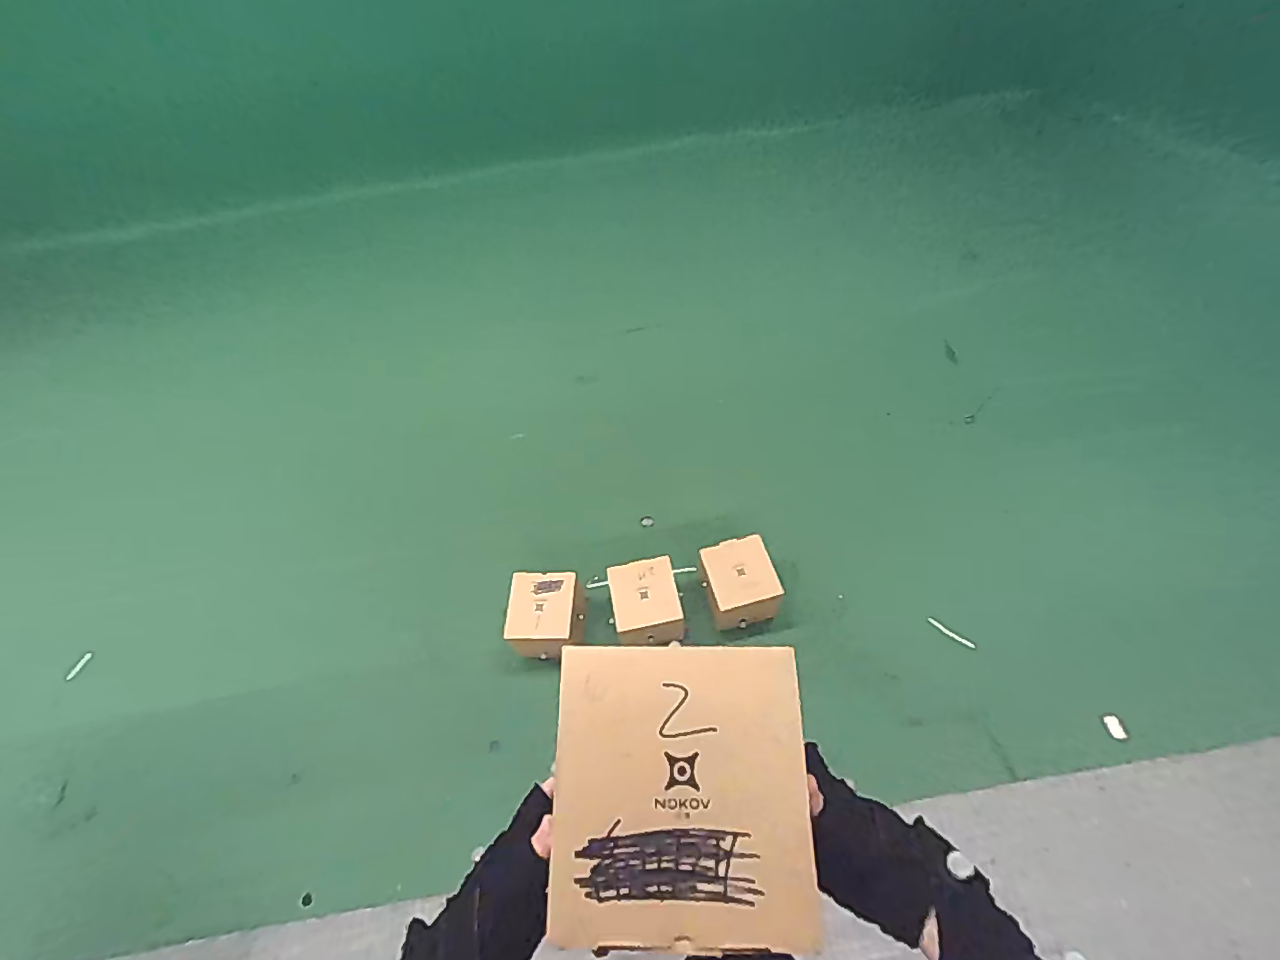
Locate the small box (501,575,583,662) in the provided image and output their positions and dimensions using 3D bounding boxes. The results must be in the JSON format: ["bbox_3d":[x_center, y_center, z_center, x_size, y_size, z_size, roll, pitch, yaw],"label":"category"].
[{"bbox_3d":[-0.247,0.361,1.407,0.168,0.176,0.179,-1,57,5],"label":"small box"}]

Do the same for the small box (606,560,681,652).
[{"bbox_3d":[0.011,0.334,1.403,0.168,0.176,0.179,-10,55,-3],"label":"small box"}]

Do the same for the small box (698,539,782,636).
[{"bbox_3d":[0.253,0.285,1.420,0.168,0.176,0.179,-14,56,-4],"label":"small box"}]
